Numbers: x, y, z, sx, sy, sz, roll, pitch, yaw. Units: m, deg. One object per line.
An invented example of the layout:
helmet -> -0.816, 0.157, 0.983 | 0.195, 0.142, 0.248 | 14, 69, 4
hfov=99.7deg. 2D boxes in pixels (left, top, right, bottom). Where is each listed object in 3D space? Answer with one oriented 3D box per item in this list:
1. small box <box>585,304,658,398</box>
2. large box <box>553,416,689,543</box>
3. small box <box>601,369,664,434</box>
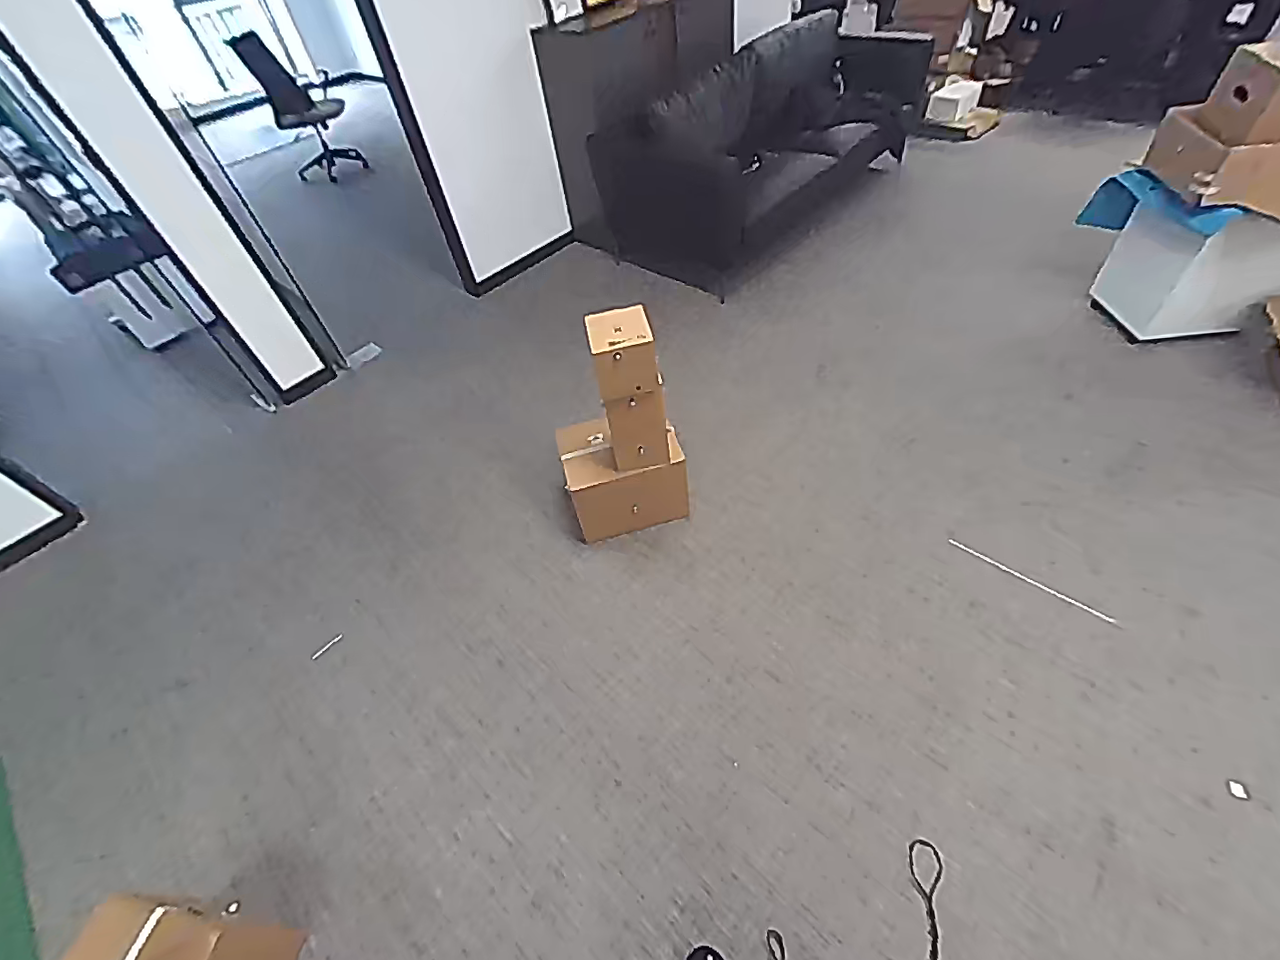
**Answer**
small box -> -0.050, -0.356, 1.495 | 0.168, 0.176, 0.179 | -13, 49, -1
large box -> -0.063, -0.023, 1.969 | 0.408, 0.320, 0.320 | -16, 48, -5
small box -> -0.027, -0.264, 1.629 | 0.179, 0.176, 0.168 | -14, 50, -2
